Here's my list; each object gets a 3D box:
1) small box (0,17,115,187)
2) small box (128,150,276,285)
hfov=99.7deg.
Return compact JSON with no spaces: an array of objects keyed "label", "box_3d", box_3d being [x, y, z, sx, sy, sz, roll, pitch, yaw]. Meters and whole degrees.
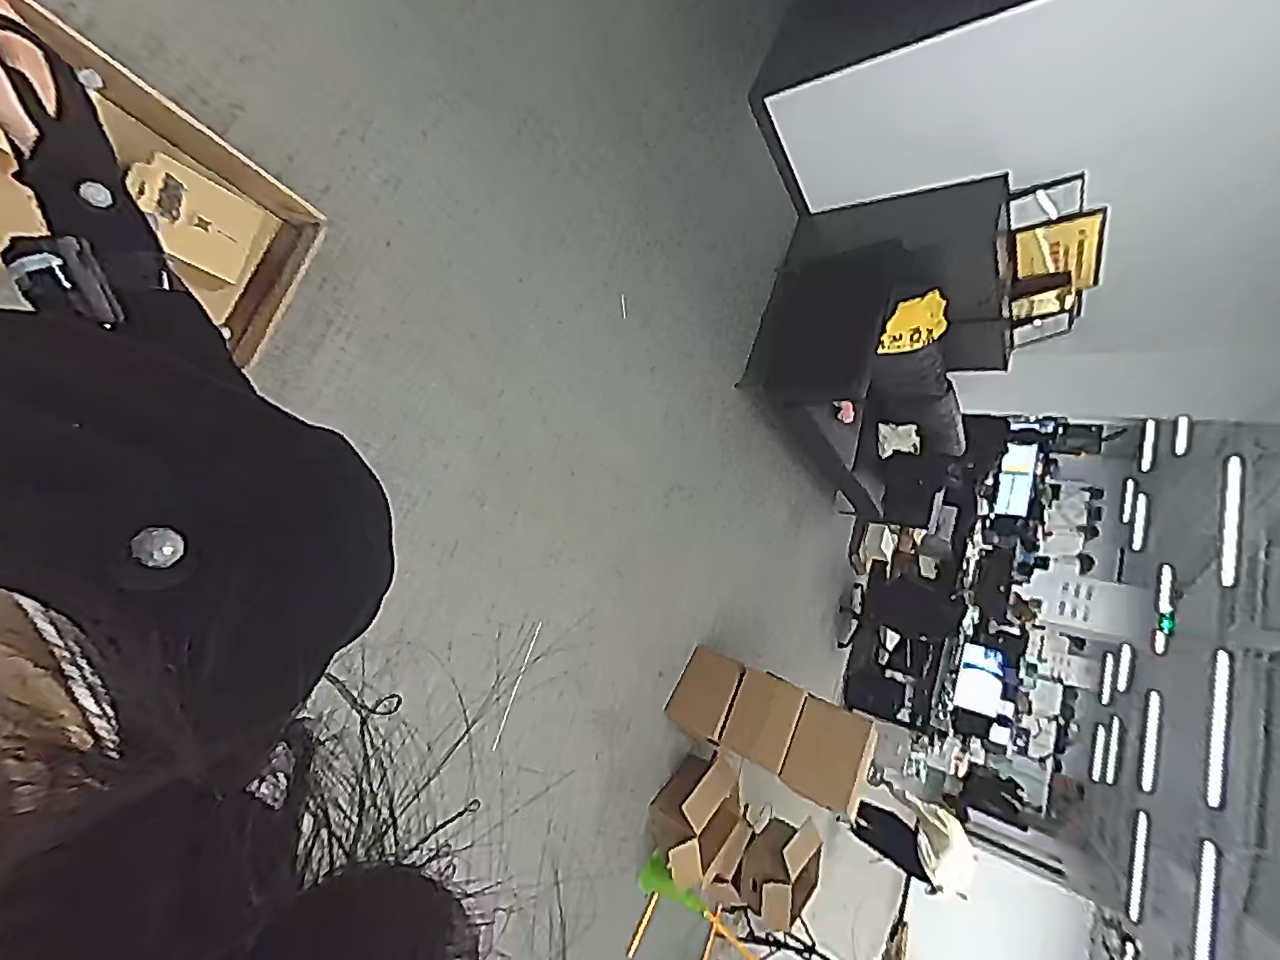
[{"label":"small box","box_3d":[-1.022,-0.616,0.886,0.179,0.176,0.168,30,76,-50]},{"label":"small box","box_3d":[-0.878,-0.508,1.081,0.179,0.176,0.168,25,79,-49]}]
